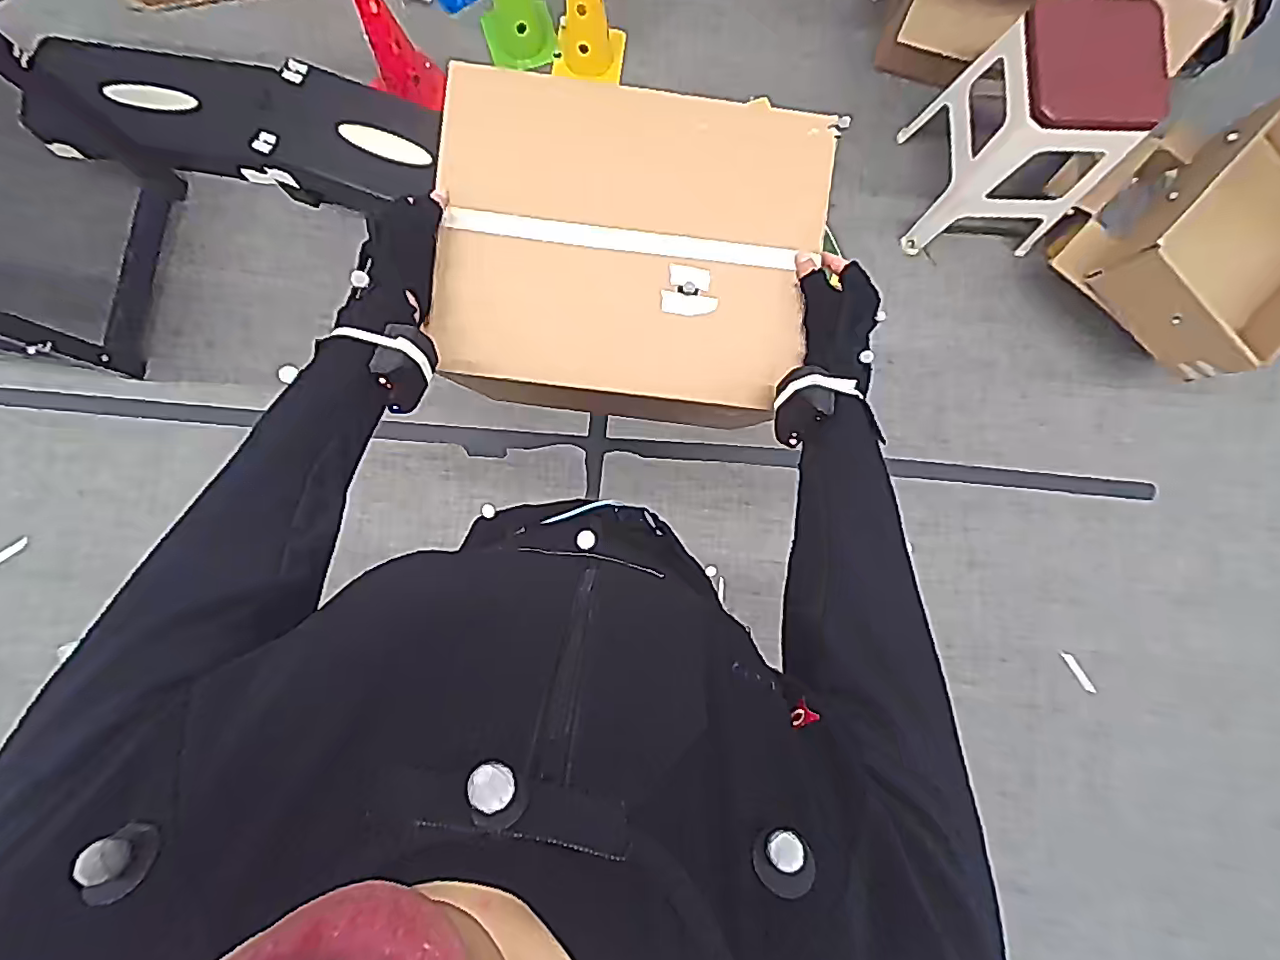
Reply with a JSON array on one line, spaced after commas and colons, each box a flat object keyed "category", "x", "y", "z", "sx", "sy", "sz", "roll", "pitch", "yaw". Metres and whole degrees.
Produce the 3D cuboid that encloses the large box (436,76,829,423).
[{"category": "large box", "x": -0.015, "y": -0.257, "z": 0.725, "sx": 0.408, "sy": 0.320, "sz": 0.320, "roll": 6, "pitch": 92, "yaw": -3}]
